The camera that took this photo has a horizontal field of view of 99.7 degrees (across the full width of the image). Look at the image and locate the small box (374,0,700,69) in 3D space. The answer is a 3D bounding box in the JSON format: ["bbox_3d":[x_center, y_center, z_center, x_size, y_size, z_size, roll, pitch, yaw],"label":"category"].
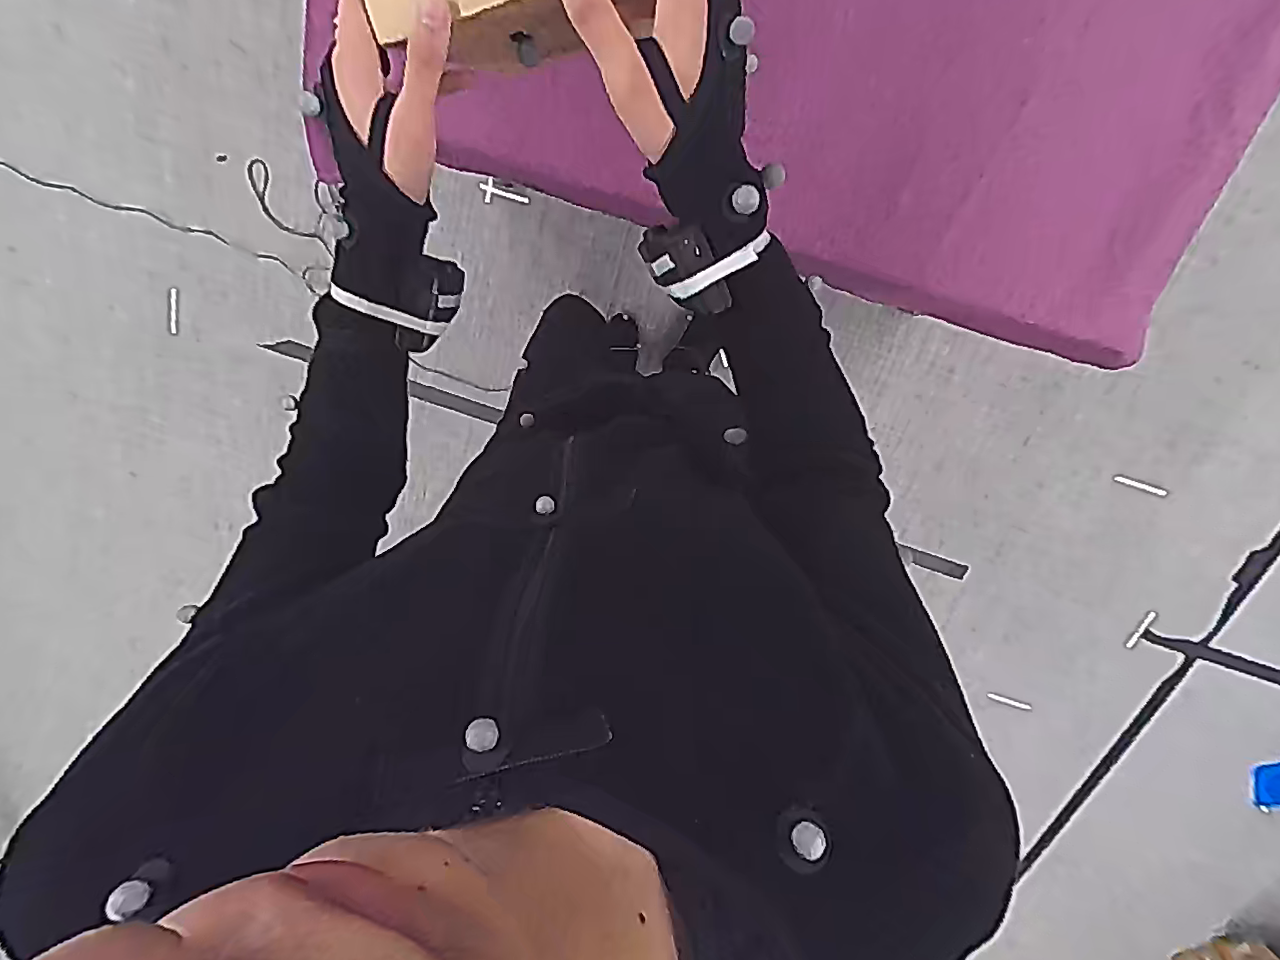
[{"bbox_3d":[-0.065,-0.370,0.318,0.168,0.176,0.179,-3,118,19],"label":"small box"}]
